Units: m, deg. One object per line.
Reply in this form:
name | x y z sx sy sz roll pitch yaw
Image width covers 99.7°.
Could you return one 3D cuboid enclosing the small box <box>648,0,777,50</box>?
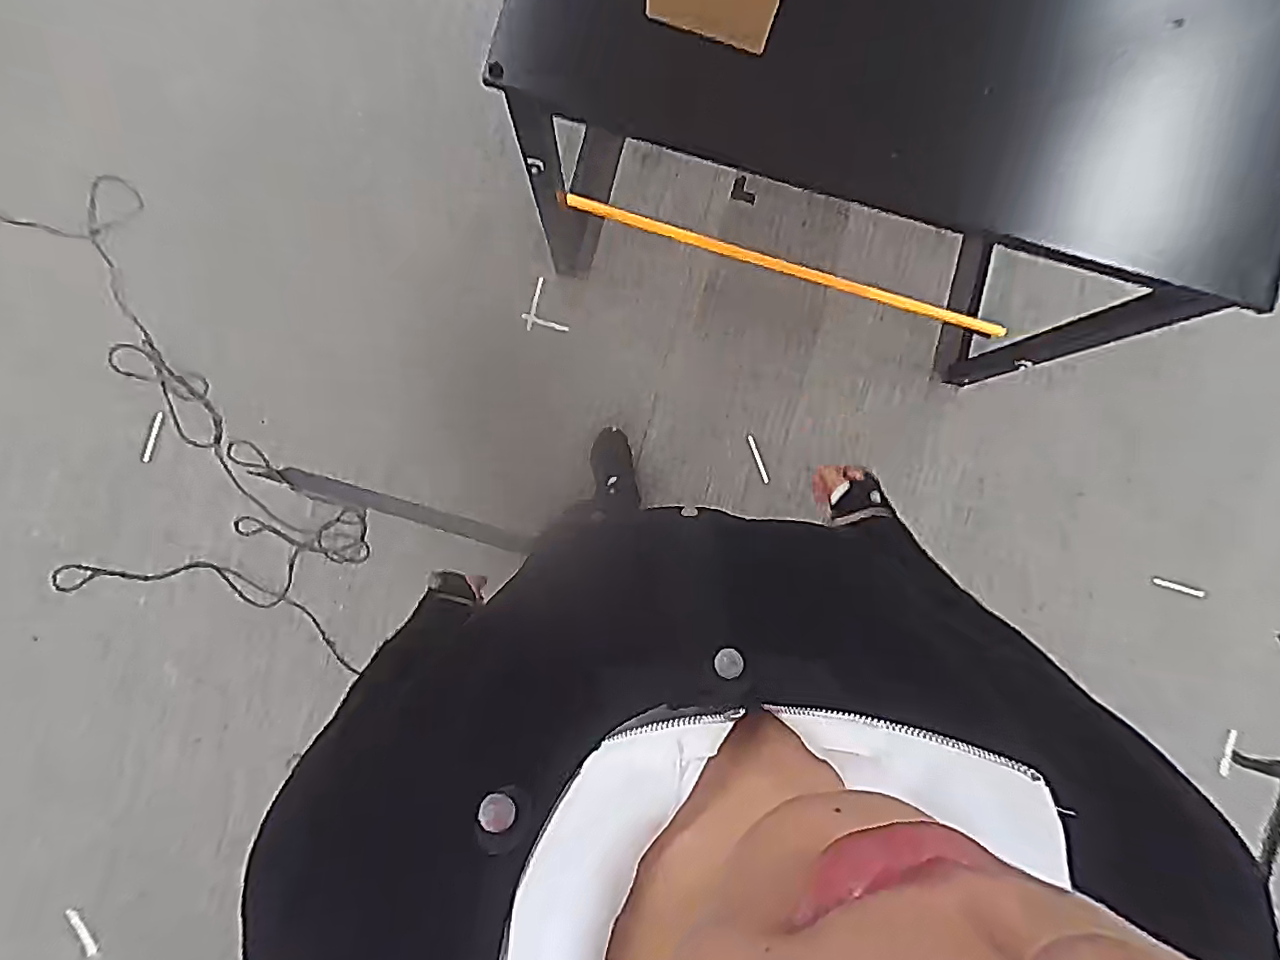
small box | 0.115 -0.716 0.703 0.179 0.176 0.168 17 88 -3
